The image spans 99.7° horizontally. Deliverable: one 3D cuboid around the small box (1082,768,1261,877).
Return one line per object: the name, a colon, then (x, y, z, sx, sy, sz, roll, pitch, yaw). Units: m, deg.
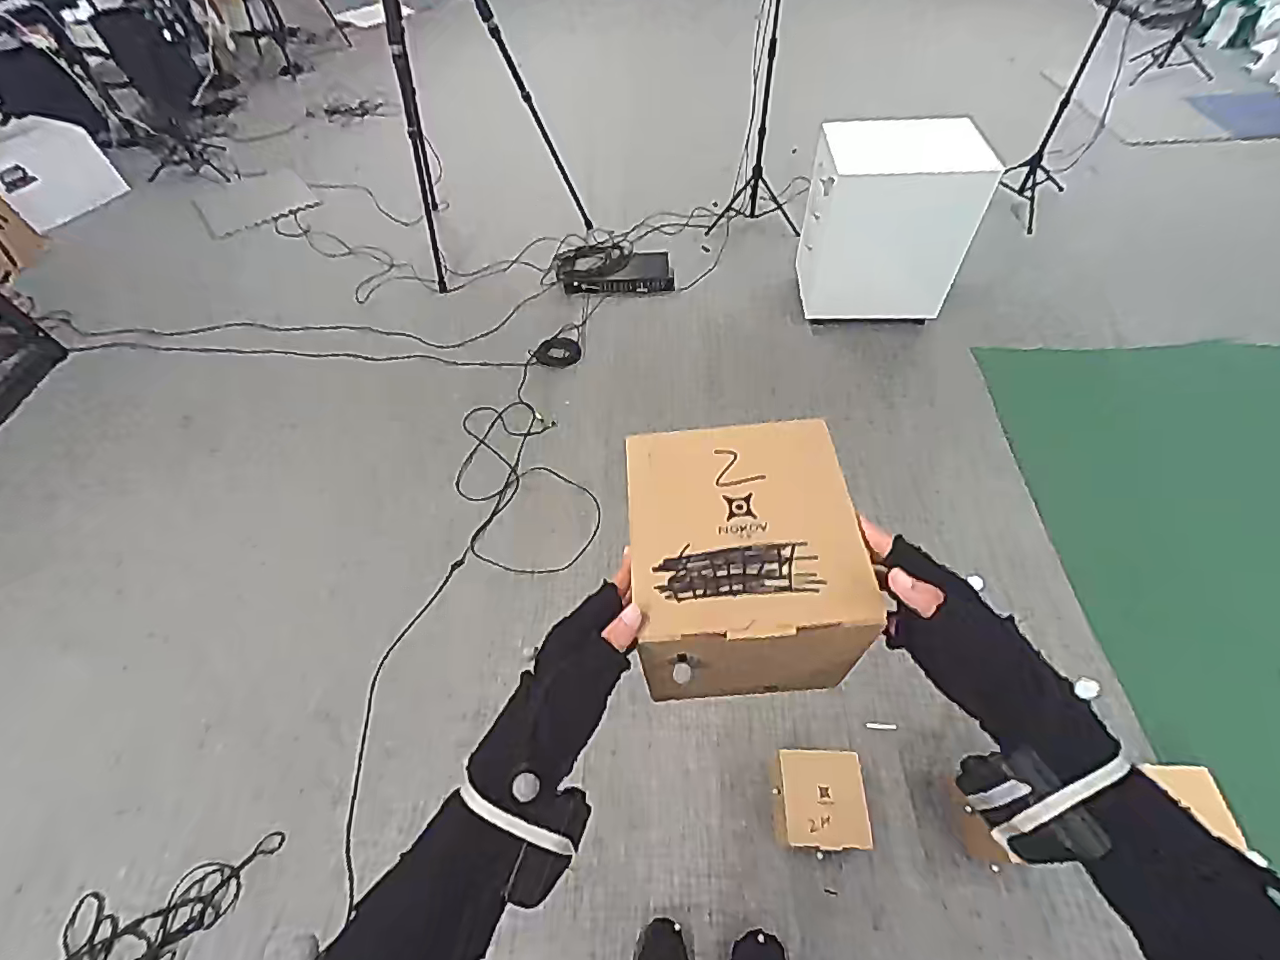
small box: (1.074, 0.708, 1.117, 0.168, 0.176, 0.179, -1, 53, 3)

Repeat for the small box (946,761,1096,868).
small box: (0.782, 0.704, 1.135, 0.168, 0.176, 0.179, -3, 52, 0)

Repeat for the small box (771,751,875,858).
small box: (0.381, 0.697, 1.160, 0.168, 0.176, 0.179, 0, 54, 5)
